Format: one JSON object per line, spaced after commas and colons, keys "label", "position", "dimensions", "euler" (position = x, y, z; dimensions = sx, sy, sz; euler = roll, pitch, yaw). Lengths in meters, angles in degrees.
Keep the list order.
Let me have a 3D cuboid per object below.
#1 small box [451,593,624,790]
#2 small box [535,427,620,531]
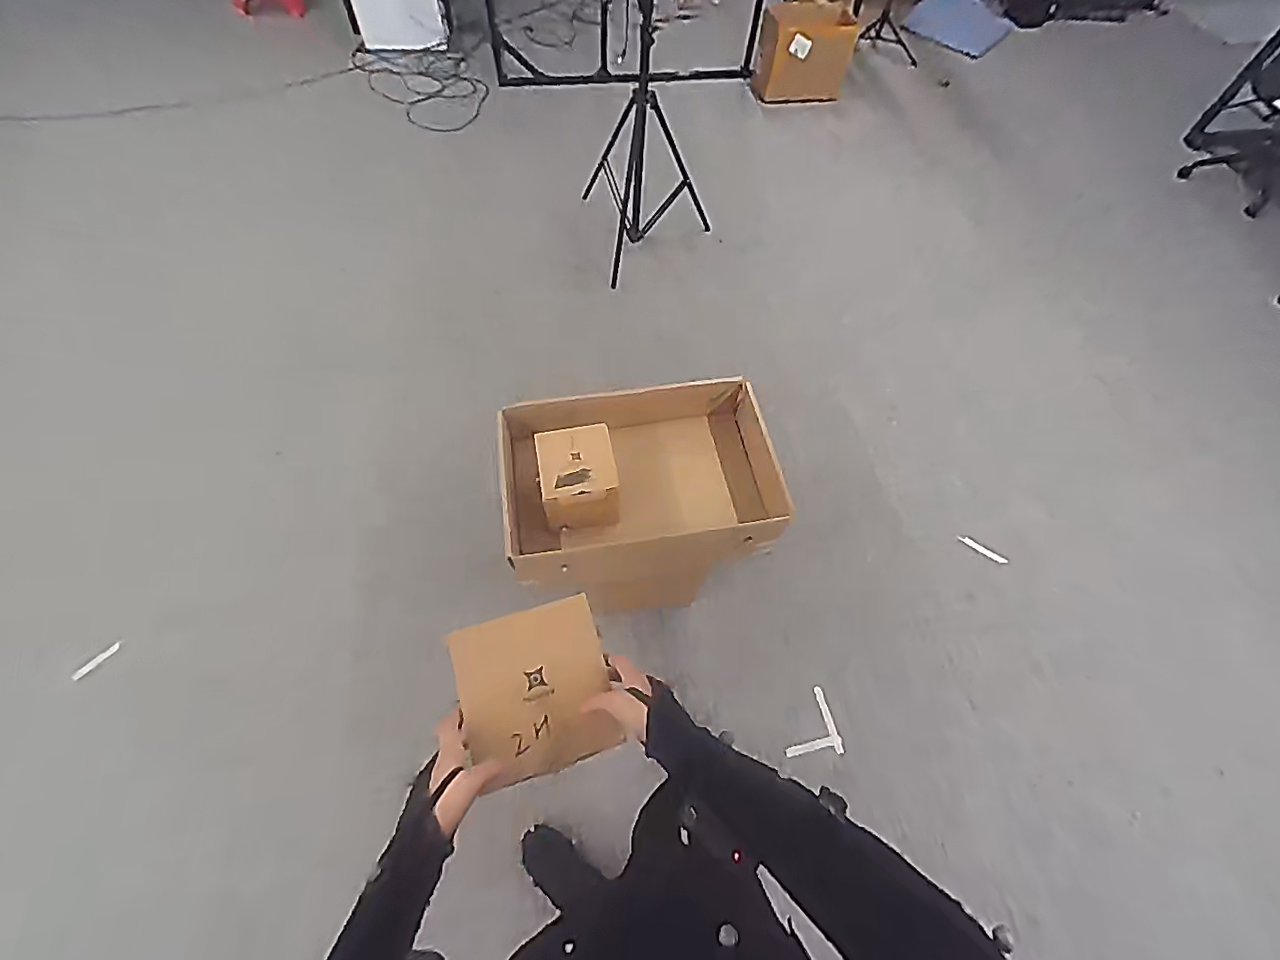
{"label": "small box", "position": [-0.132, 0.262, 0.681], "dimensions": [0.168, 0.176, 0.179], "euler": [-13, 70, -16]}
{"label": "small box", "position": [-0.139, 0.005, 1.235], "dimensions": [0.168, 0.176, 0.179], "euler": [-9, 60, -7]}
